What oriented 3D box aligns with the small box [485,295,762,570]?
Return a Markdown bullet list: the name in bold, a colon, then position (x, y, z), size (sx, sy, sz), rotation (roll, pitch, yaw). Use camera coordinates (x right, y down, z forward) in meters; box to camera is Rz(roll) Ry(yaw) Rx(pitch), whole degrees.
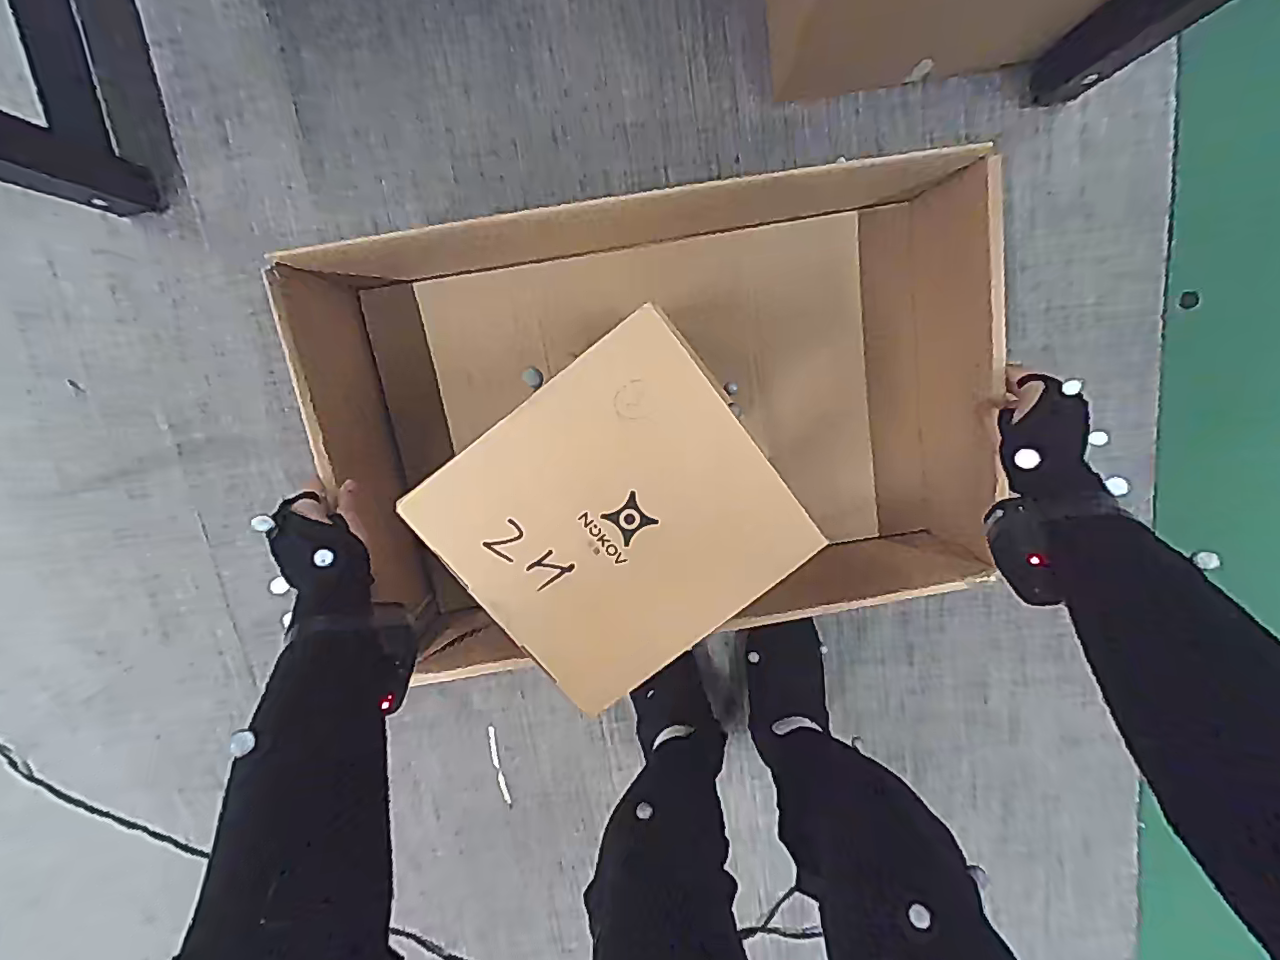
- **small box**: position (-0.015, -0.051, 0.525), size (0.179, 0.176, 0.168), rotation (-40, 103, 6)
